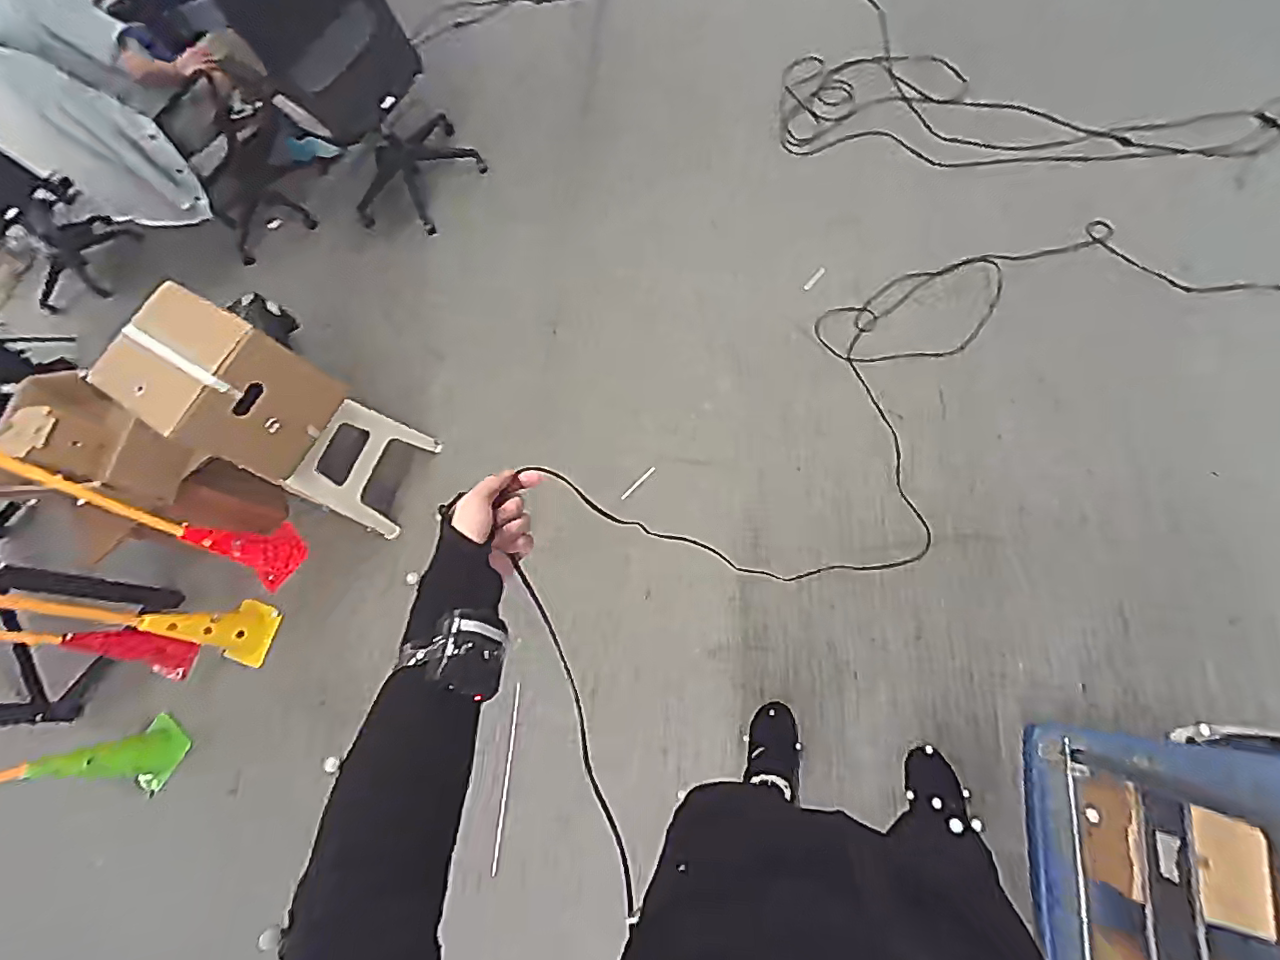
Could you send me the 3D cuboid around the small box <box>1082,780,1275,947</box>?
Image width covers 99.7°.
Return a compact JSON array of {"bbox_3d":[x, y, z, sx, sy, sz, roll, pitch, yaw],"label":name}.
[{"bbox_3d":[0.896,0.632,0.919,0.179,0.176,0.168,6,73,19],"label":"small box"}]
